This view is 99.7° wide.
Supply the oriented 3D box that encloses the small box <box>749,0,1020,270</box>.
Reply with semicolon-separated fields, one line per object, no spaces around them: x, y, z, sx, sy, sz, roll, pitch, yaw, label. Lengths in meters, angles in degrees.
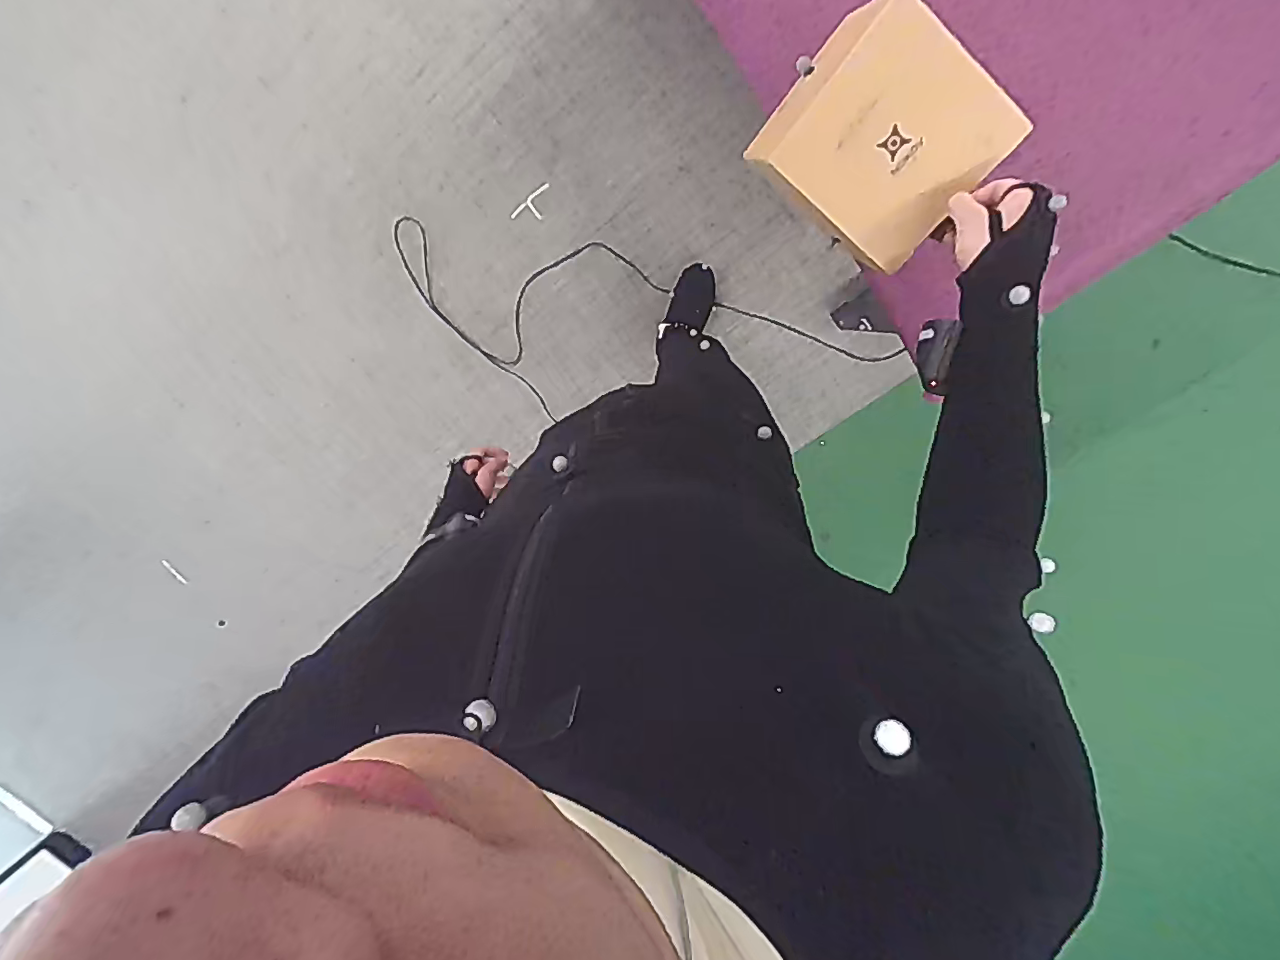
0.242;-0.363;0.580;0.179;0.176;0.168;33;117;-19;small box
